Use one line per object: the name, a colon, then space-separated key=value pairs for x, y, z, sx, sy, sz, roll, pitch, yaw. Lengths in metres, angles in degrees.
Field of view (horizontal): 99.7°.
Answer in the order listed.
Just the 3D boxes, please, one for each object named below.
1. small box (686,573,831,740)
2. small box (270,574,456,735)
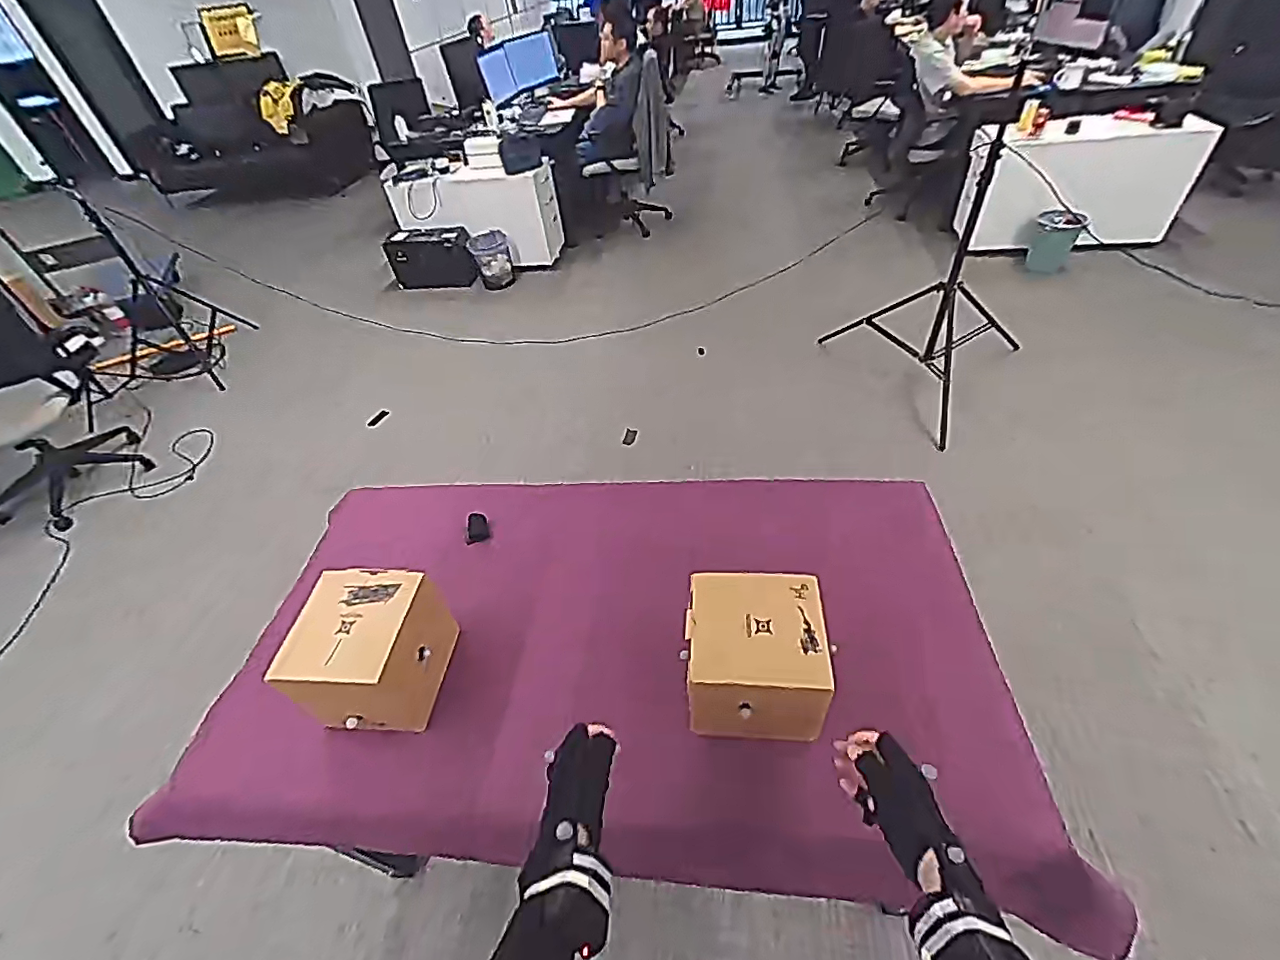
small box: x=0.160 y=0.249 z=0.762 sx=0.179 sy=0.176 sz=0.168 roll=-1 pitch=44 yaw=9
small box: x=-0.401 y=0.264 z=0.826 sx=0.168 sy=0.176 sz=0.179 roll=-1 pitch=45 yaw=7
